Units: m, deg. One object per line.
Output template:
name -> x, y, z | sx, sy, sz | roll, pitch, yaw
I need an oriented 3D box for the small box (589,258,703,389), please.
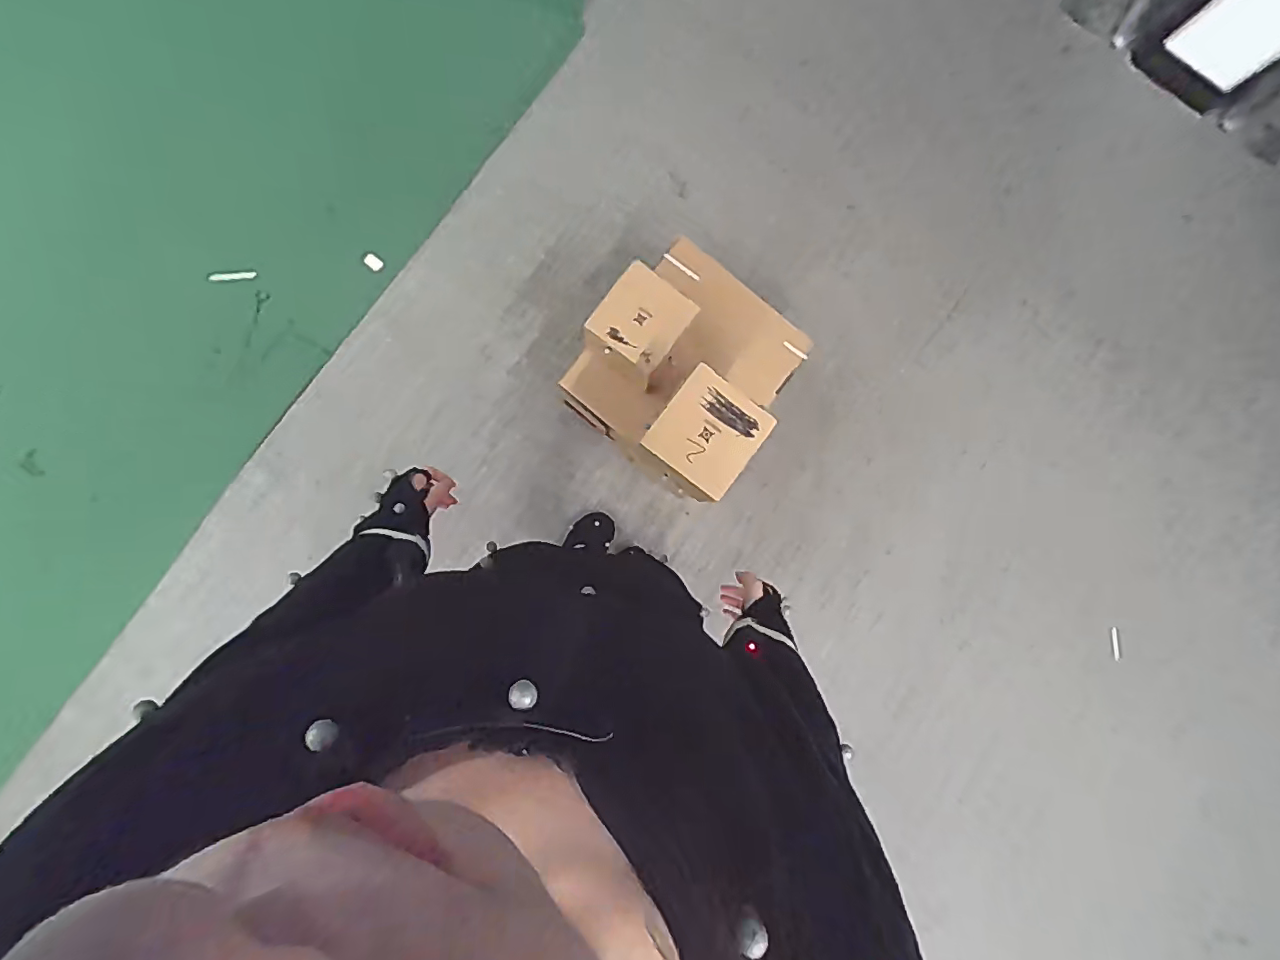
small box -> 0.005, -0.320, 1.140 | 0.168, 0.176, 0.179 | 38, 85, -1

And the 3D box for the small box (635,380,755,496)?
small box -> 0.107, -0.082, 1.138 | 0.179, 0.176, 0.168 | 37, 85, -2
